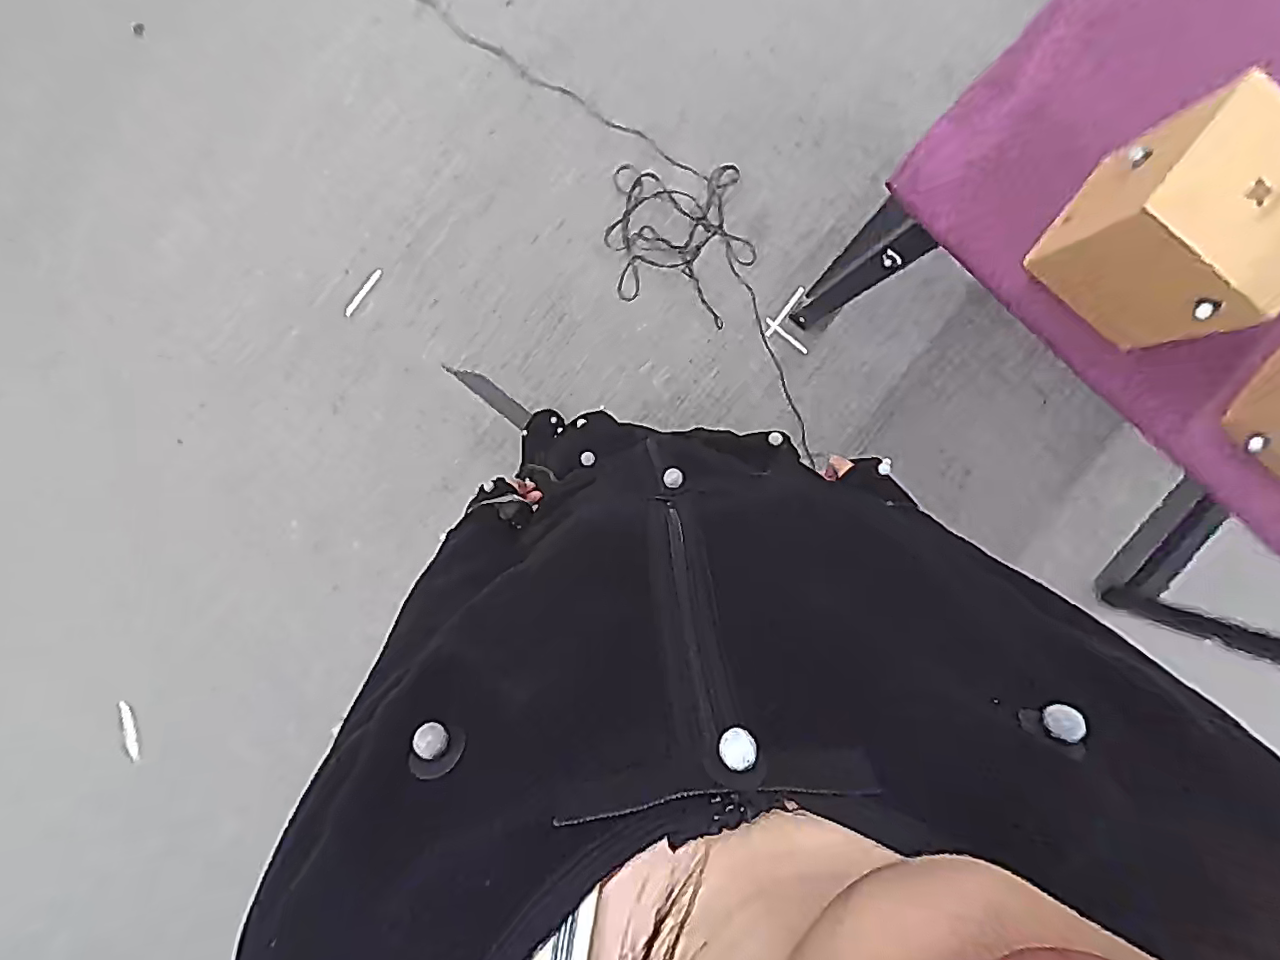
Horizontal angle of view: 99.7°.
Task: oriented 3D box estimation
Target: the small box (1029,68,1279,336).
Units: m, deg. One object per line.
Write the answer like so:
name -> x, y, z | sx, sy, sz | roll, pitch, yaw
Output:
small box -> 0.594, -0.282, 0.598 | 0.179, 0.176, 0.168 | 37, 93, -4

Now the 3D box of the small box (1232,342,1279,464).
small box -> 0.860, -0.095, 0.618 | 0.168, 0.176, 0.179 | 37, 92, -4
